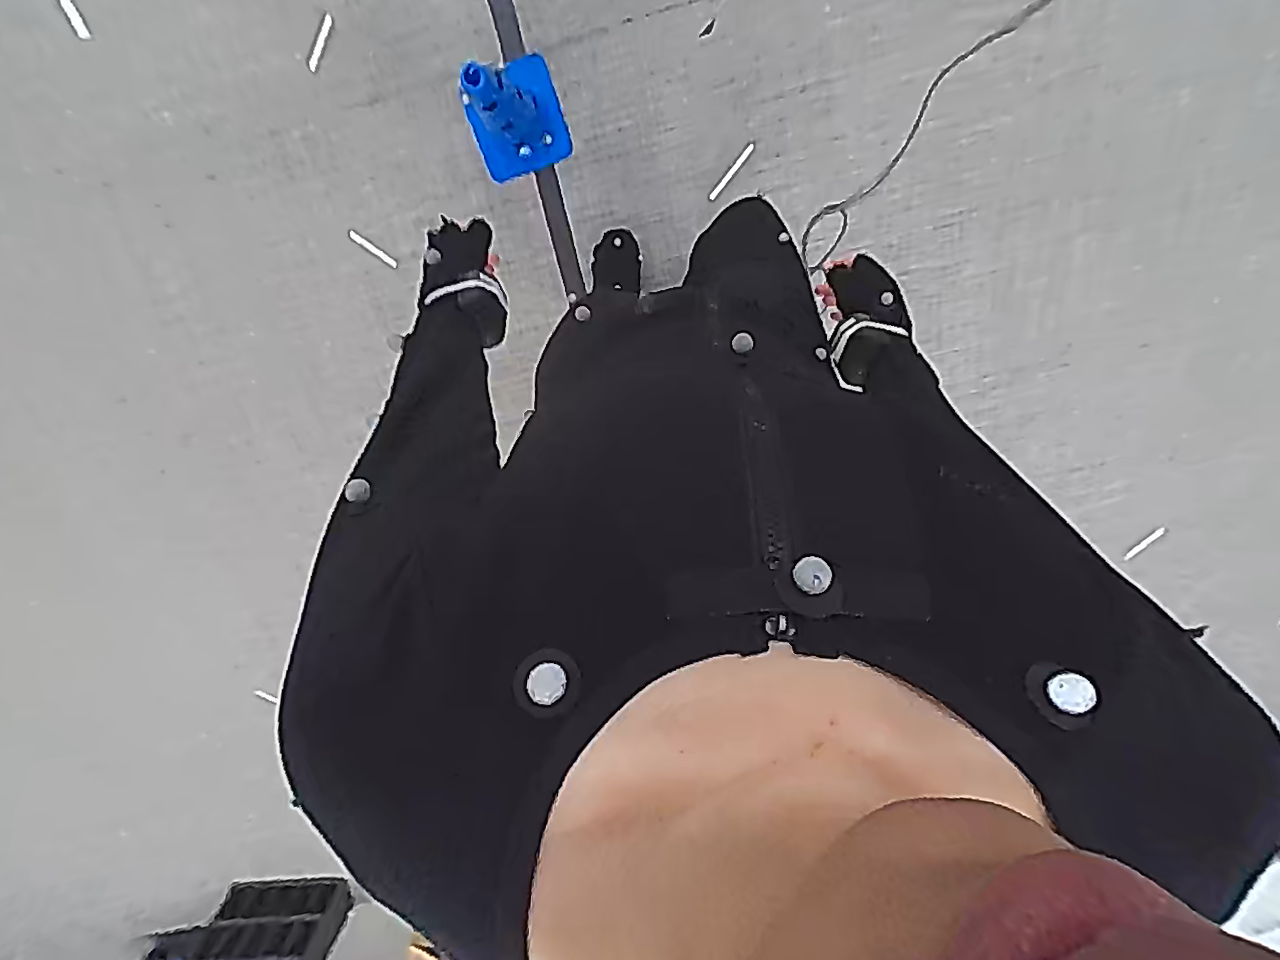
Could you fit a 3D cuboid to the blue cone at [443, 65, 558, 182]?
[{"bbox_3d":[-0.288,-0.710,1.032,0.192,0.380,0.193,-15,113,7],"label":"blue cone"}]
